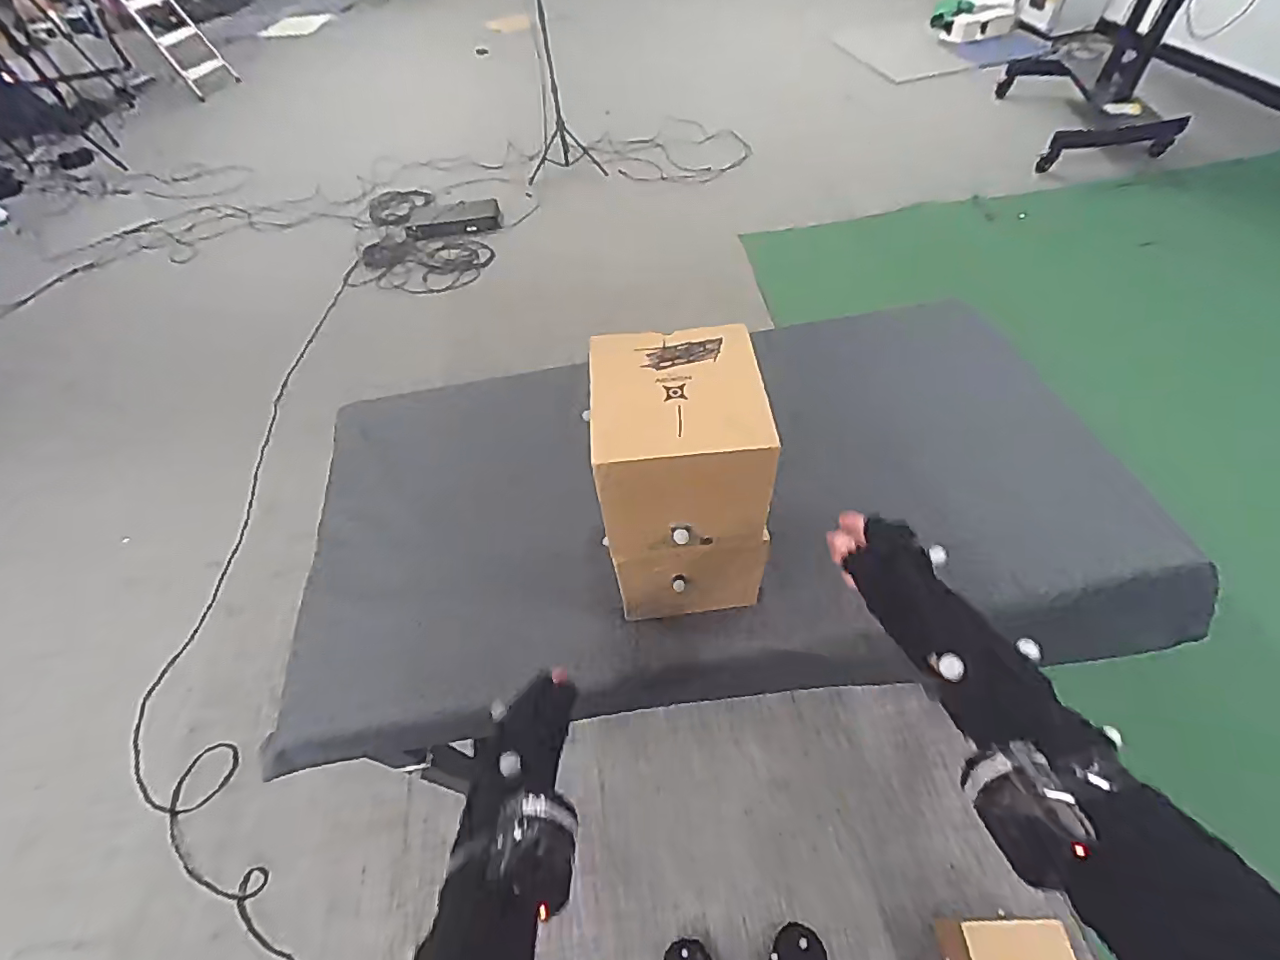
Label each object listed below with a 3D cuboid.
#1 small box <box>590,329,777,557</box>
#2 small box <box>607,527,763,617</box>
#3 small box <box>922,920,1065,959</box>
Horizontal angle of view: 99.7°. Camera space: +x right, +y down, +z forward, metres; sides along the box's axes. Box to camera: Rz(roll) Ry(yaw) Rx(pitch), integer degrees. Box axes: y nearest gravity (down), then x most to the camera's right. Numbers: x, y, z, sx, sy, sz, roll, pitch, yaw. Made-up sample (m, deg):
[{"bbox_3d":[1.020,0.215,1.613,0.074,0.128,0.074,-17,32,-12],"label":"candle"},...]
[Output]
[{"bbox_3d":[0.039,-0.037,0.580,0.168,0.176,0.179,-4,52,2],"label":"small box"},{"bbox_3d":[0.052,0.066,0.708,0.179,0.176,0.168,-7,52,0],"label":"small box"},{"bbox_3d":[0.634,0.886,0.952,0.179,0.176,0.168,-5,51,3],"label":"small box"}]
